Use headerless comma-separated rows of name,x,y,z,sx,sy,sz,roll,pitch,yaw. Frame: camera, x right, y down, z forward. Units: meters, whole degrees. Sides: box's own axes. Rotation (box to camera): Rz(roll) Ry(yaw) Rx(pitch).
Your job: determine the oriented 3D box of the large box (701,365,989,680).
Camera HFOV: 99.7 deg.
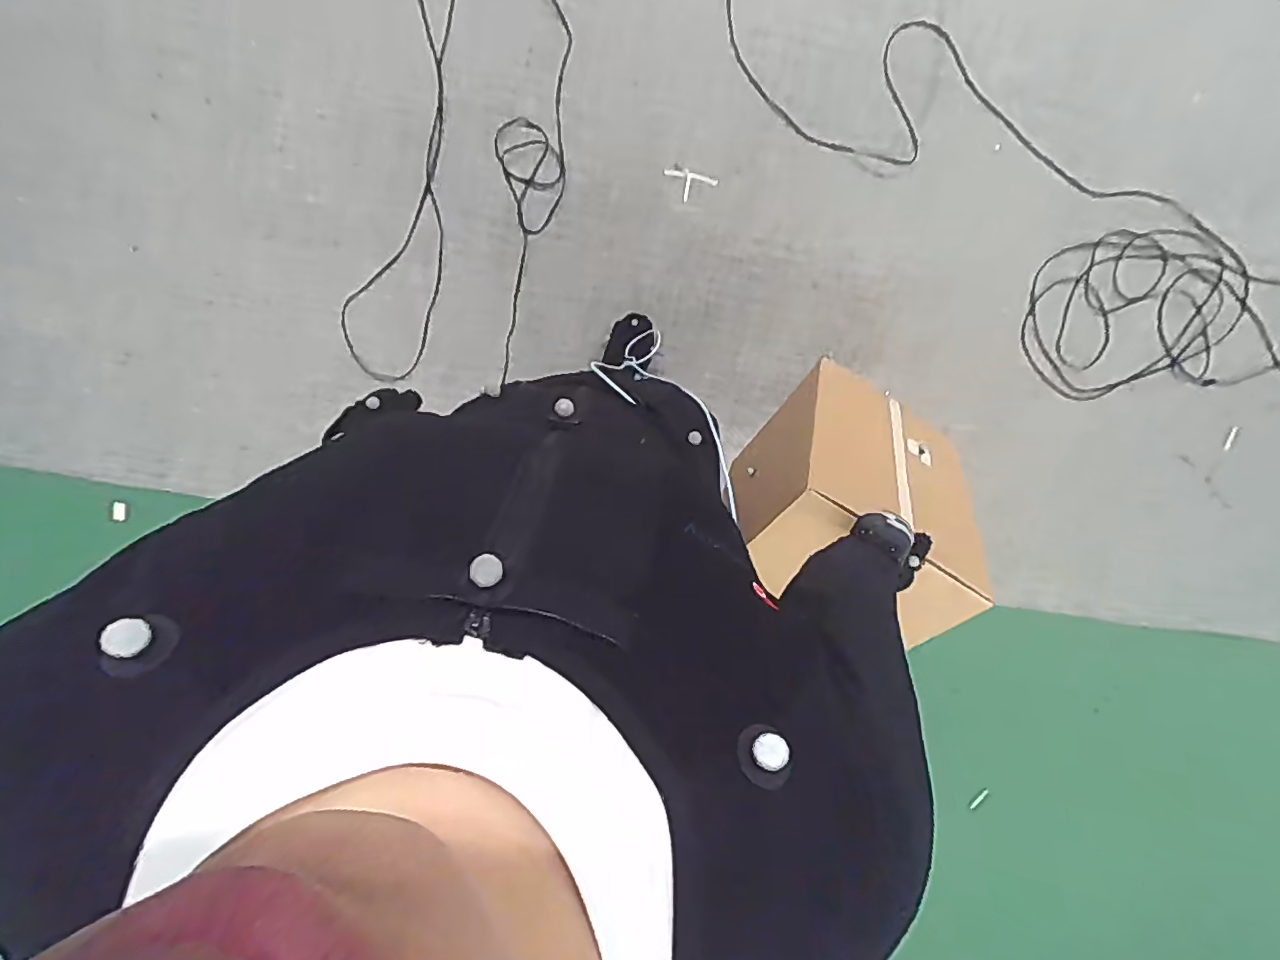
large box,0.346,0.070,0.980,0.320,0.408,0.320,32,131,-5
